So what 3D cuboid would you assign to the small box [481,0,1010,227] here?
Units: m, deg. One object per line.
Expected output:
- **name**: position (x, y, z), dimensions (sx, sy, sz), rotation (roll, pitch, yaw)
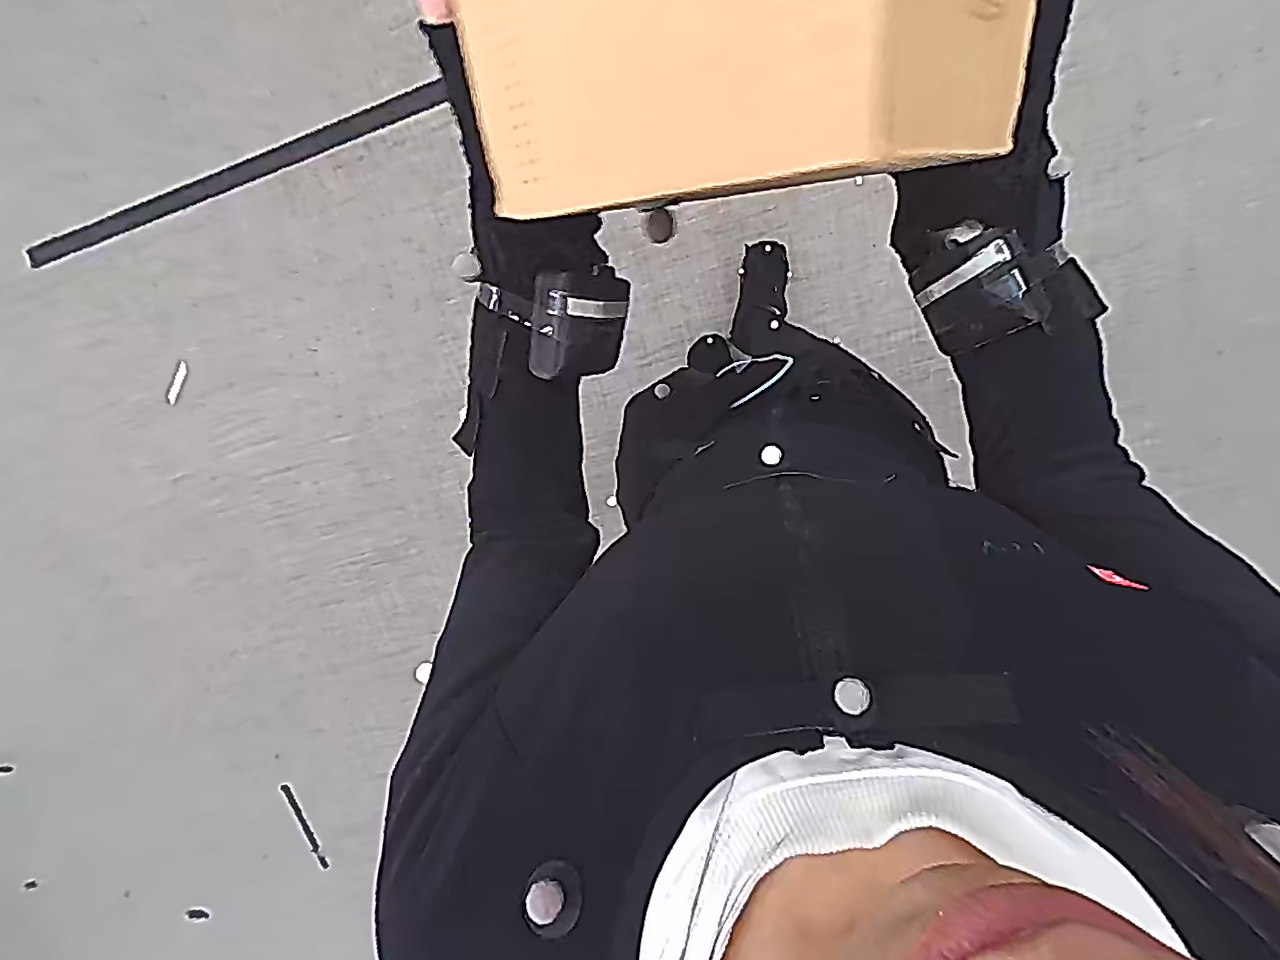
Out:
- **small box**: position (0.044, -0.214, 0.222), dimensions (0.176, 0.168, 0.179), rotation (13, 123, 37)
